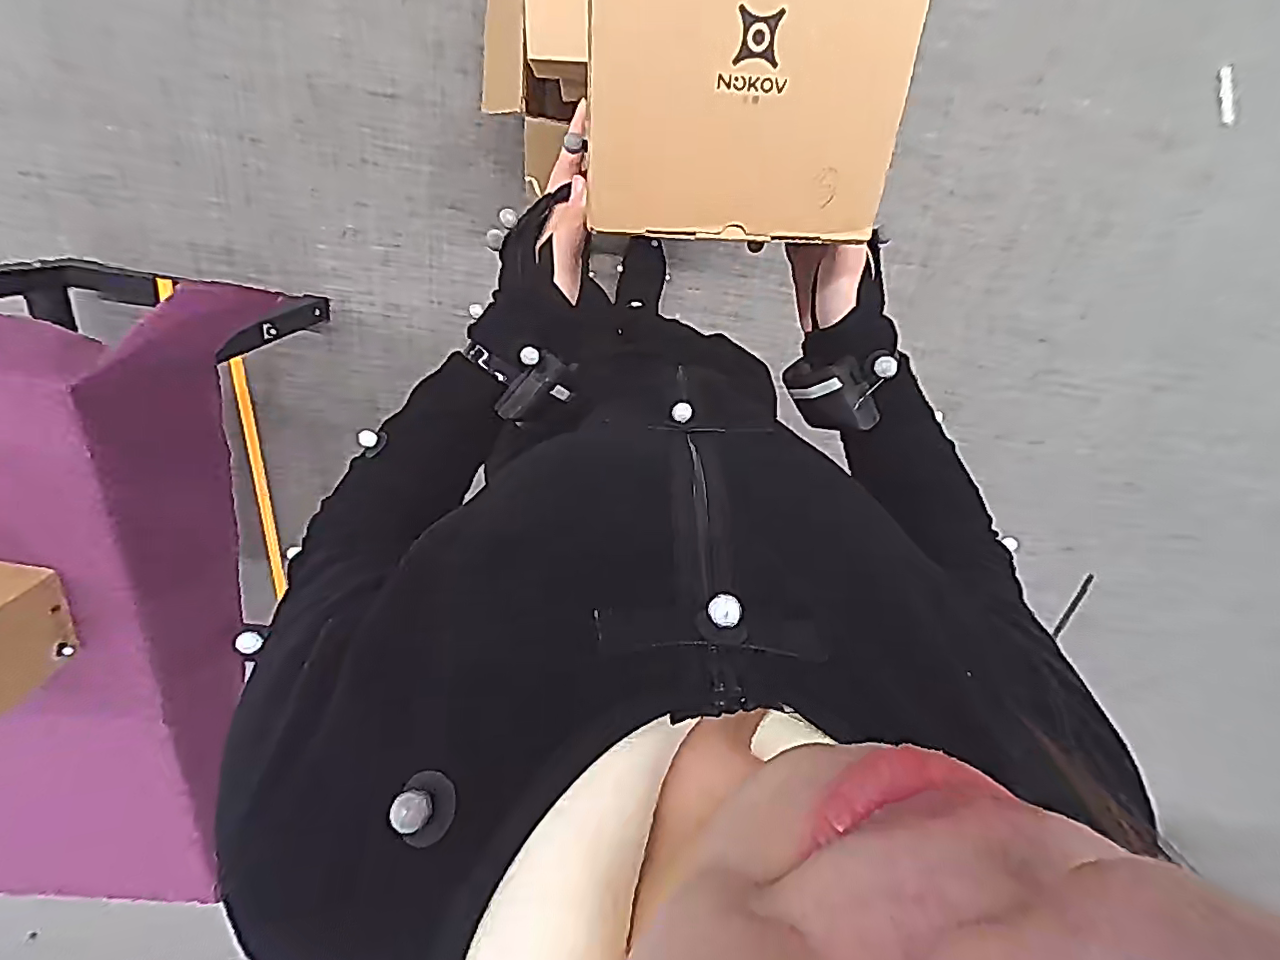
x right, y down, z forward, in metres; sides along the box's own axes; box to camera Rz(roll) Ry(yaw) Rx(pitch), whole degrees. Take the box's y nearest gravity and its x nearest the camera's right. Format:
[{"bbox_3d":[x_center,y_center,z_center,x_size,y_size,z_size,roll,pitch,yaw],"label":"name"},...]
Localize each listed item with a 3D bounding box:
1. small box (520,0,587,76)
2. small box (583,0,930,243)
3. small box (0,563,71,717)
[{"bbox_3d":[-0.045,-0.577,0.626,0.179,0.176,0.168,-1,121,-6],"label":"small box"},{"bbox_3d":[0.050,-0.256,0.331,0.168,0.176,0.179,0,121,-6],"label":"small box"},{"bbox_3d":[-0.949,0.219,0.742,0.179,0.176,0.168,11,116,-7],"label":"small box"}]
